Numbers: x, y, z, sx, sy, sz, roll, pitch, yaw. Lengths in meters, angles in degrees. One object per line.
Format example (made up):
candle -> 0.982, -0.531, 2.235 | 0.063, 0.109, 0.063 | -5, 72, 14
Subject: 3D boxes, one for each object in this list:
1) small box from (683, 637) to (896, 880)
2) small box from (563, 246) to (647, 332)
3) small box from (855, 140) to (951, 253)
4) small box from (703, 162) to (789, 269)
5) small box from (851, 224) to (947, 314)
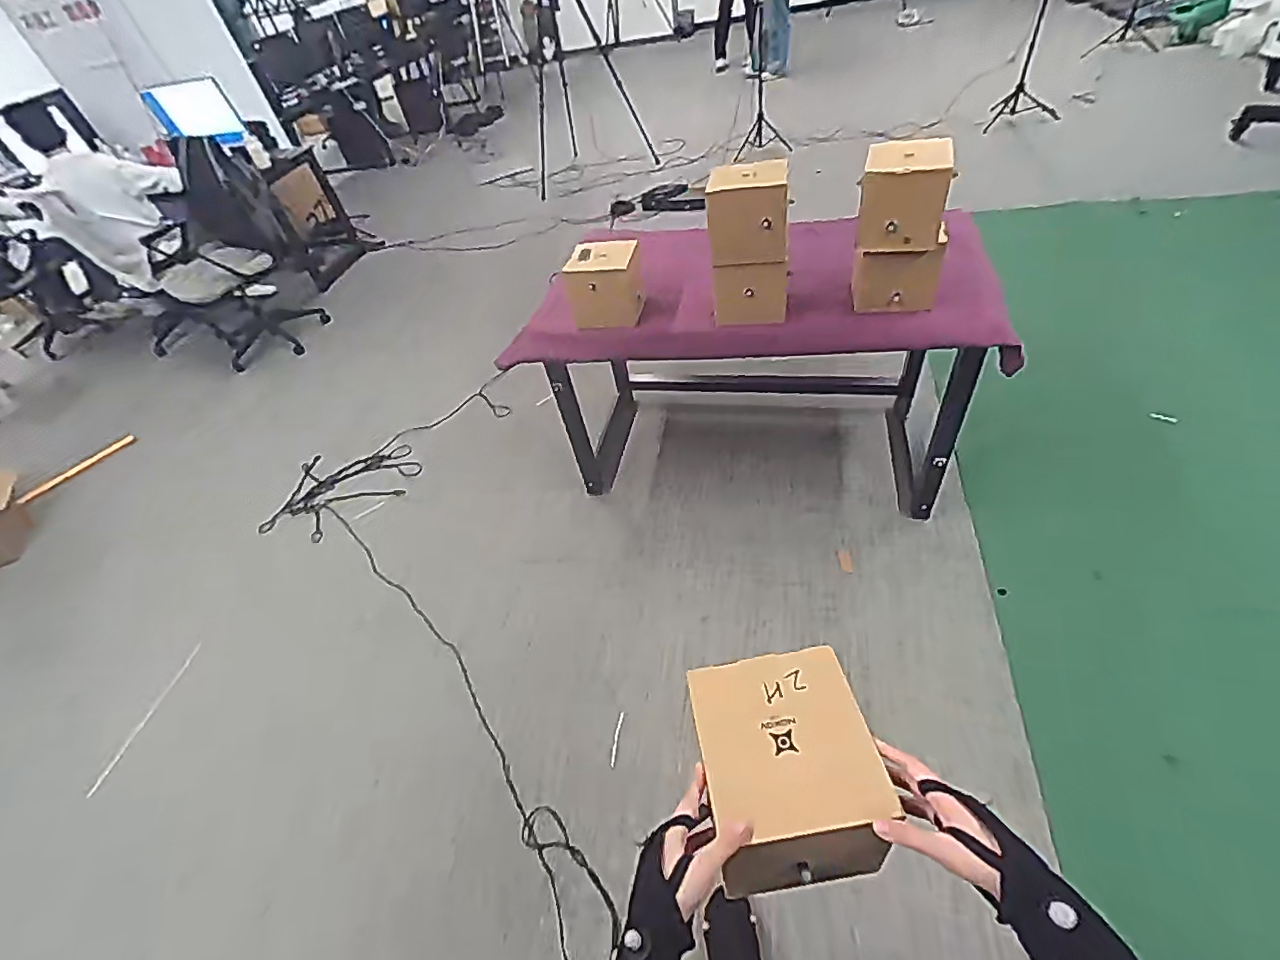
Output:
small box -> 0.147, 0.300, 0.578 | 0.168, 0.176, 0.179 | -10, 39, 1
small box -> -0.089, -0.518, 1.478 | 0.179, 0.176, 0.168 | 2, 47, 14
small box -> 0.571, -0.618, 1.185 | 0.168, 0.176, 0.179 | 7, 50, 21
small box -> 0.250, -0.610, 1.255 | 0.179, 0.176, 0.168 | 2, 46, 16
small box -> 0.617, -0.519, 1.309 | 0.179, 0.176, 0.168 | 2, 46, 15
